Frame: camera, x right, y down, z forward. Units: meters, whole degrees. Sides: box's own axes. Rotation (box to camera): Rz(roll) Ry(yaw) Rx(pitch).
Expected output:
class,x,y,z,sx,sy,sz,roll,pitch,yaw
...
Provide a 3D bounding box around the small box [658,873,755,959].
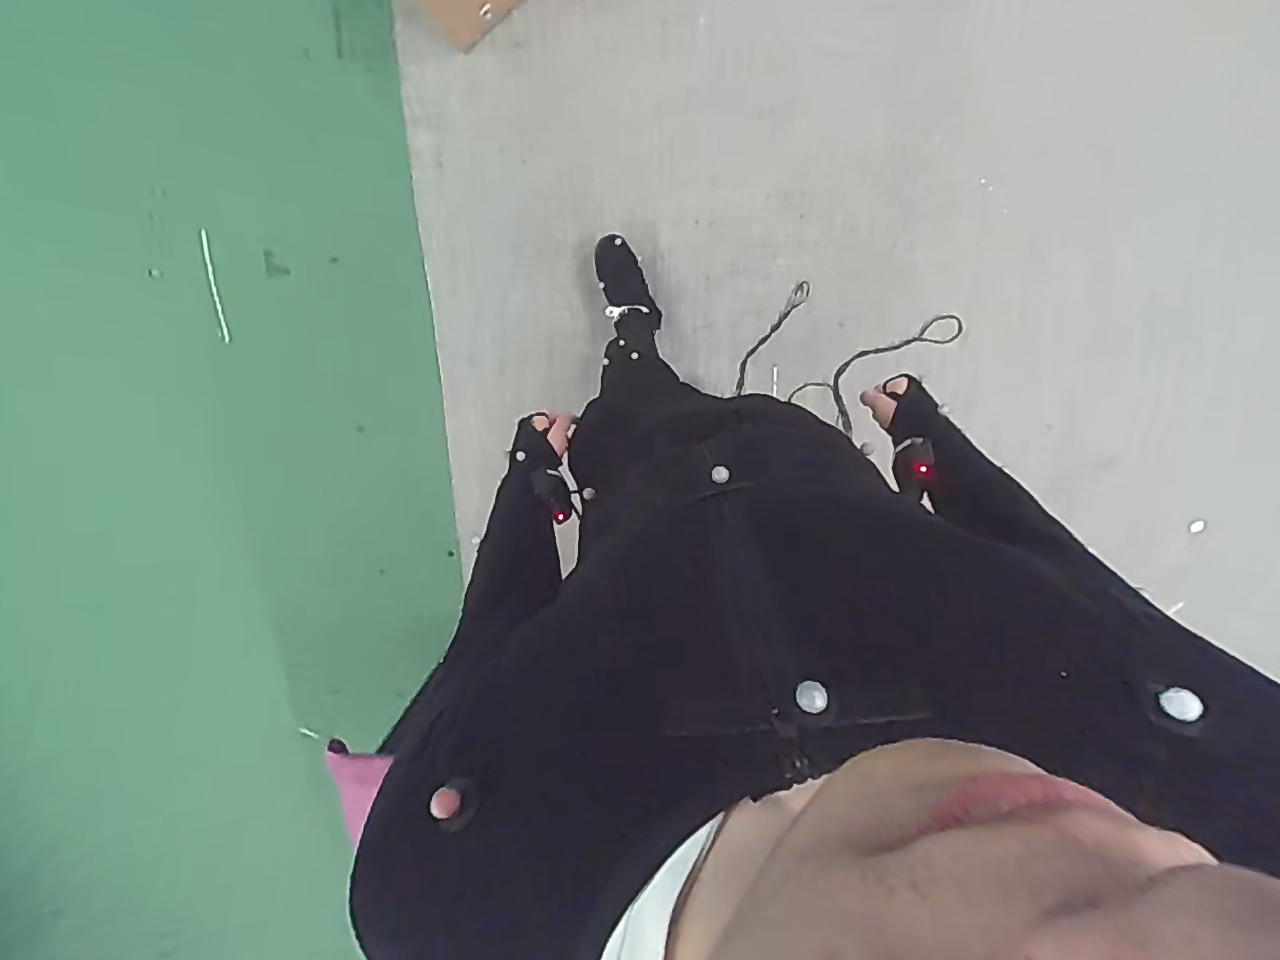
class,x,y,z,sx,sy,sz,roll,pitch,yaw
small box,0.129,0.919,1.066,0.179,0.176,0.168,1,107,6
